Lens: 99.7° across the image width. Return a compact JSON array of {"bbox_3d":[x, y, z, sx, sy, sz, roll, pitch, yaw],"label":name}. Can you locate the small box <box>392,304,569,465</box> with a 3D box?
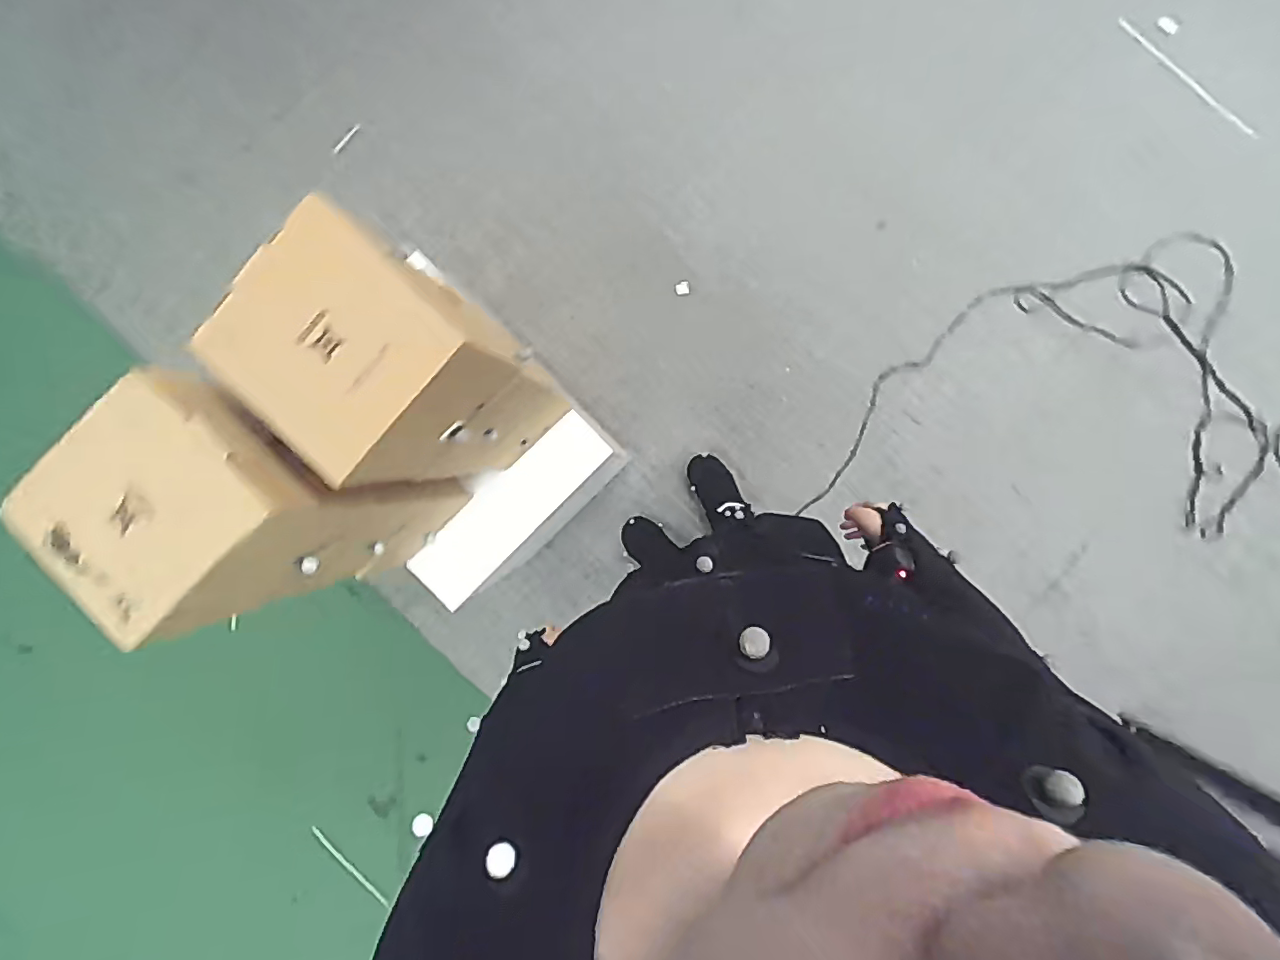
[{"bbox_3d":[-0.236,-0.136,0.847,0.168,0.176,0.179,-43,89,4],"label":"small box"}]

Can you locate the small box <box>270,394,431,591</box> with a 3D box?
[{"bbox_3d":[-0.412,0.018,0.695,0.168,0.176,0.179,-44,89,2],"label":"small box"}]

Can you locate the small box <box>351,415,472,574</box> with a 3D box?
[{"bbox_3d":[-0.404,0.022,0.859,0.168,0.176,0.179,-45,89,2],"label":"small box"}]

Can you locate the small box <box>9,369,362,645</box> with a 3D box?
[{"bbox_3d":[-0.411,0.022,0.531,0.179,0.176,0.168,-44,88,1],"label":"small box"}]
